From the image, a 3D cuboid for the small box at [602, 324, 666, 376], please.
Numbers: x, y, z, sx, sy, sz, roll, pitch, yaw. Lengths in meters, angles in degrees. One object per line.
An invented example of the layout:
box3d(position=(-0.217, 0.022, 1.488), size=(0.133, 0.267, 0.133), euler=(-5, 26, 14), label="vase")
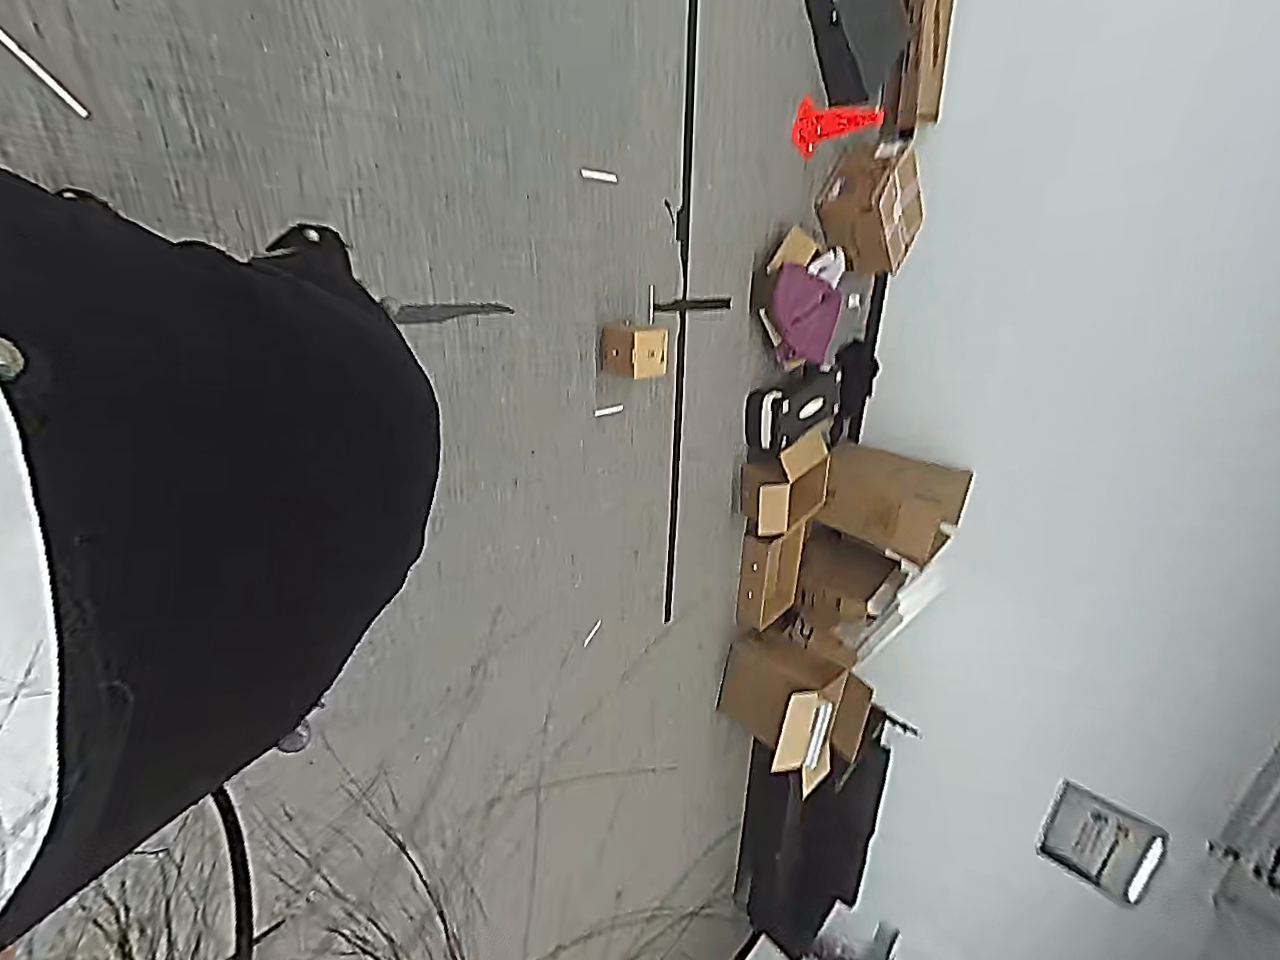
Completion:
box3d(position=(-0.025, -0.484, 1.999), size=(0.179, 0.176, 0.168), euler=(-18, 120, -42), label="small box")
